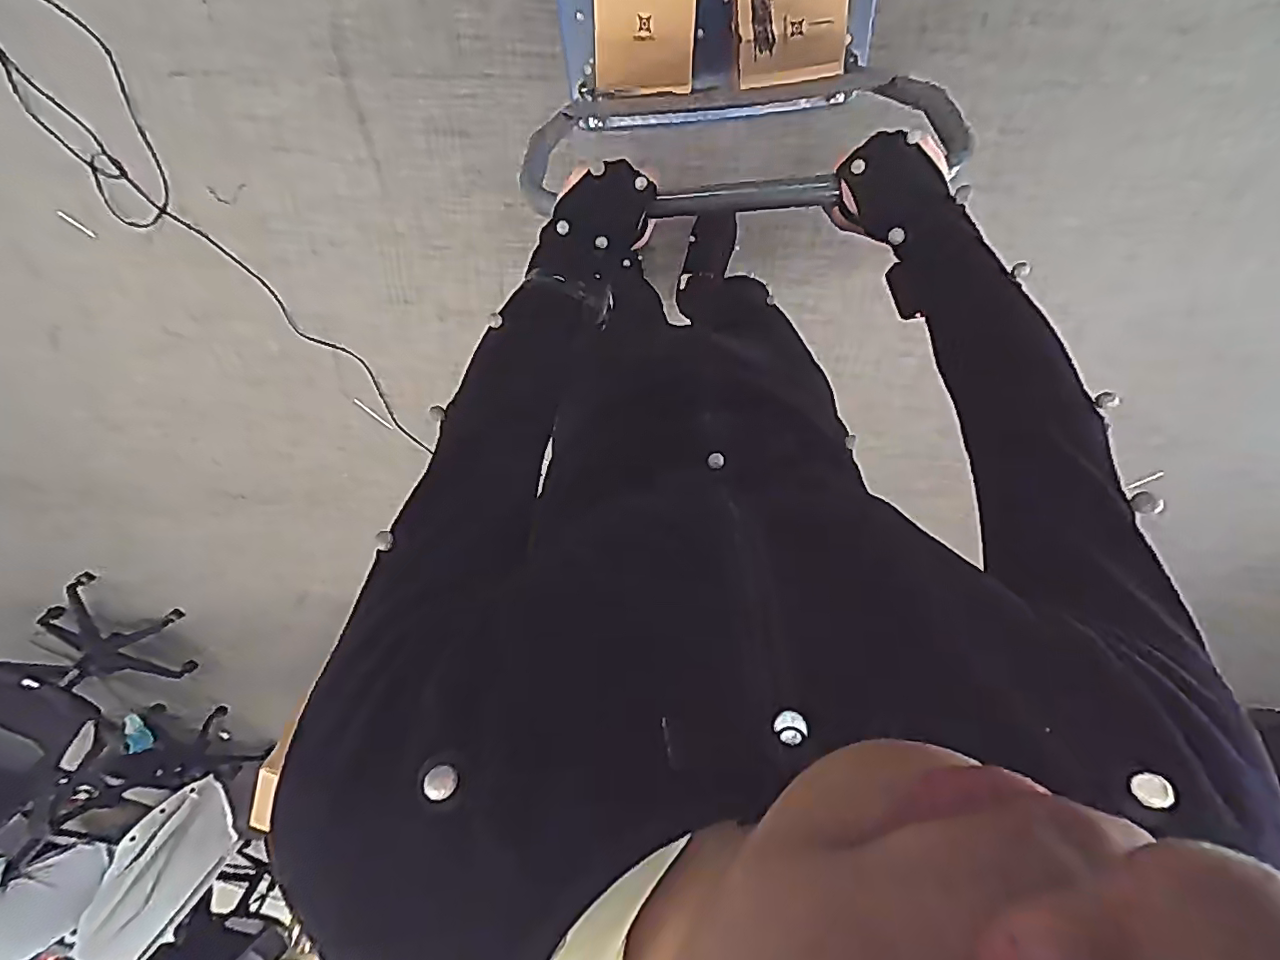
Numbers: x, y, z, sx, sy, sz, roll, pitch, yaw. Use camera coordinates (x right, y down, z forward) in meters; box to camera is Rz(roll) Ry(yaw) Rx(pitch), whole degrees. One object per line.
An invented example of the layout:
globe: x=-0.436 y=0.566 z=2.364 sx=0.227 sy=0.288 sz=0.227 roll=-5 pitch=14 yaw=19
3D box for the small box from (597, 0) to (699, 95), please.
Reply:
small box: x=0.014 y=-0.791 z=0.941 sx=0.168 sy=0.176 sz=0.179 roll=3 pitch=133 yaw=1
